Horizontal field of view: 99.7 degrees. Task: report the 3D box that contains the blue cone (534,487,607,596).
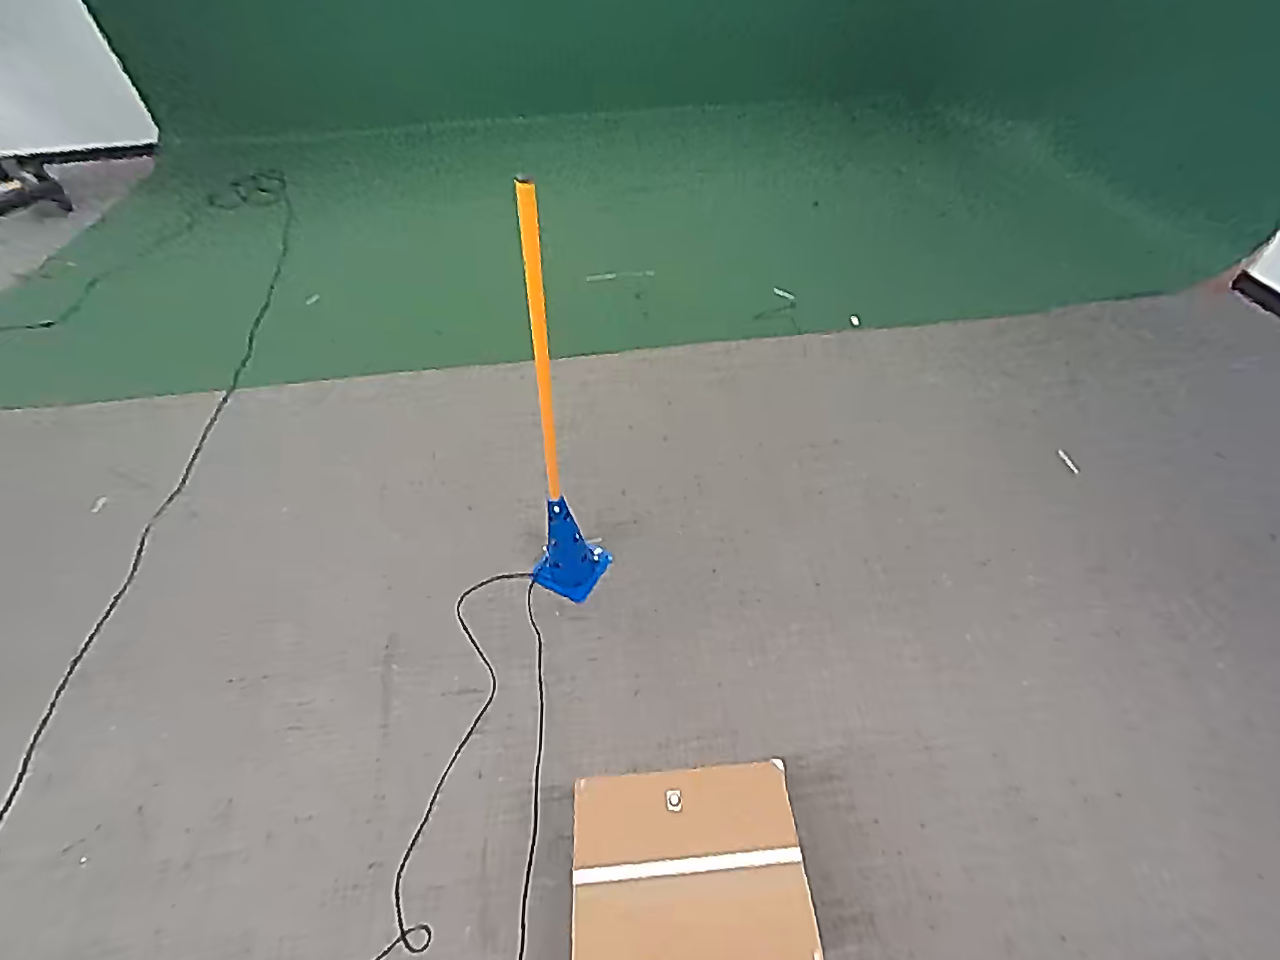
[{"bbox_3d":[-0.218,0.151,1.558,0.192,0.380,0.193,20,52,18],"label":"blue cone"}]
